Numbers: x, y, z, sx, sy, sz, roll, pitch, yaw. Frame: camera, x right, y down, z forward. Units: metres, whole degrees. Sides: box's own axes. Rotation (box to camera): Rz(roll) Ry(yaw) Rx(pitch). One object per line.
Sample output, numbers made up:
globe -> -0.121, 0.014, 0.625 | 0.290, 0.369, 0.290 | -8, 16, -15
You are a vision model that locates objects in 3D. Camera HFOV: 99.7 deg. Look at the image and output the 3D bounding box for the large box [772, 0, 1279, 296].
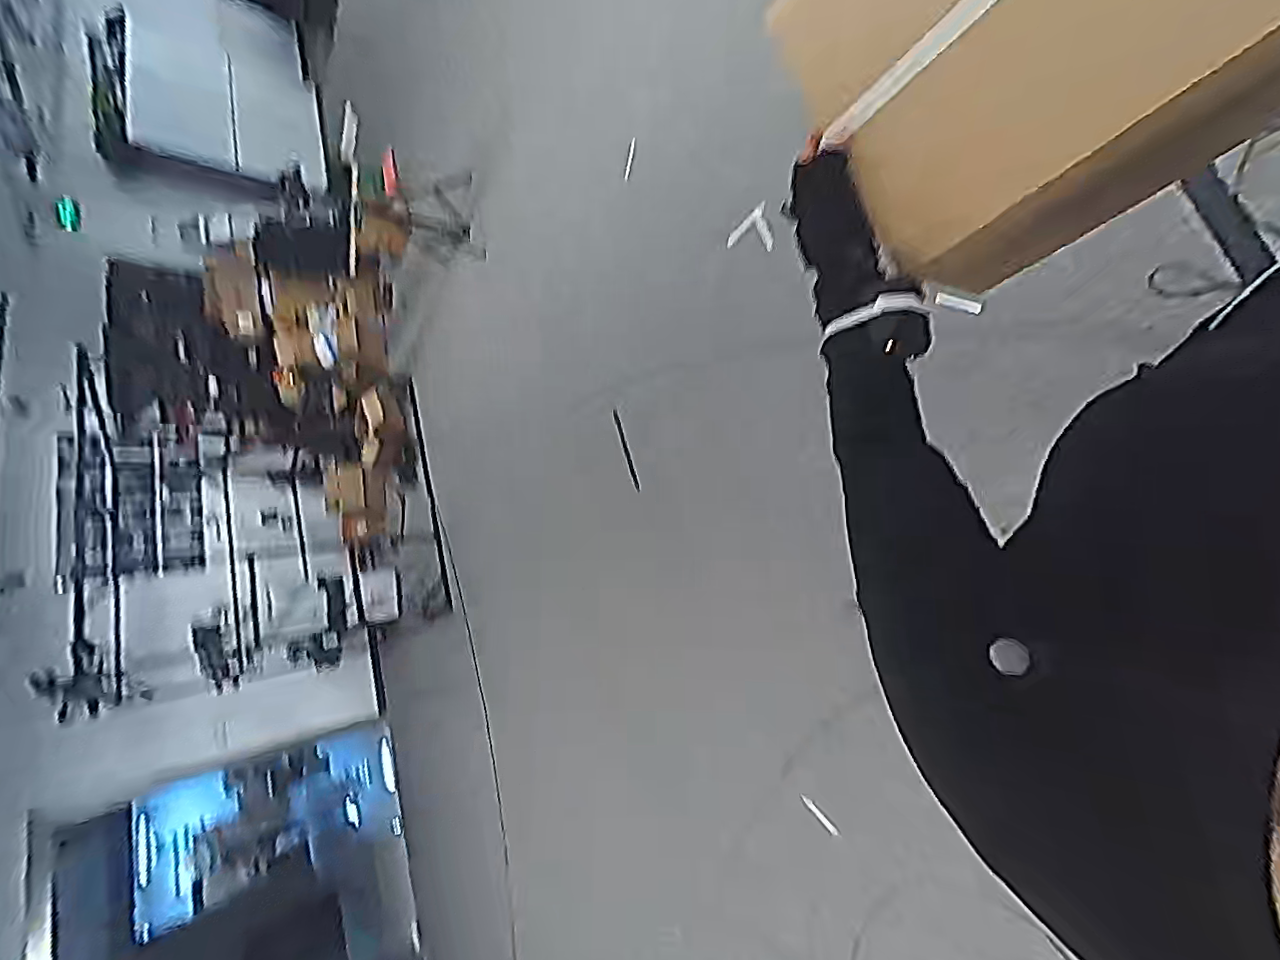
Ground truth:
large box -> 0.419, -0.439, 0.525 | 0.408, 0.320, 0.320 | -32, 78, 42
